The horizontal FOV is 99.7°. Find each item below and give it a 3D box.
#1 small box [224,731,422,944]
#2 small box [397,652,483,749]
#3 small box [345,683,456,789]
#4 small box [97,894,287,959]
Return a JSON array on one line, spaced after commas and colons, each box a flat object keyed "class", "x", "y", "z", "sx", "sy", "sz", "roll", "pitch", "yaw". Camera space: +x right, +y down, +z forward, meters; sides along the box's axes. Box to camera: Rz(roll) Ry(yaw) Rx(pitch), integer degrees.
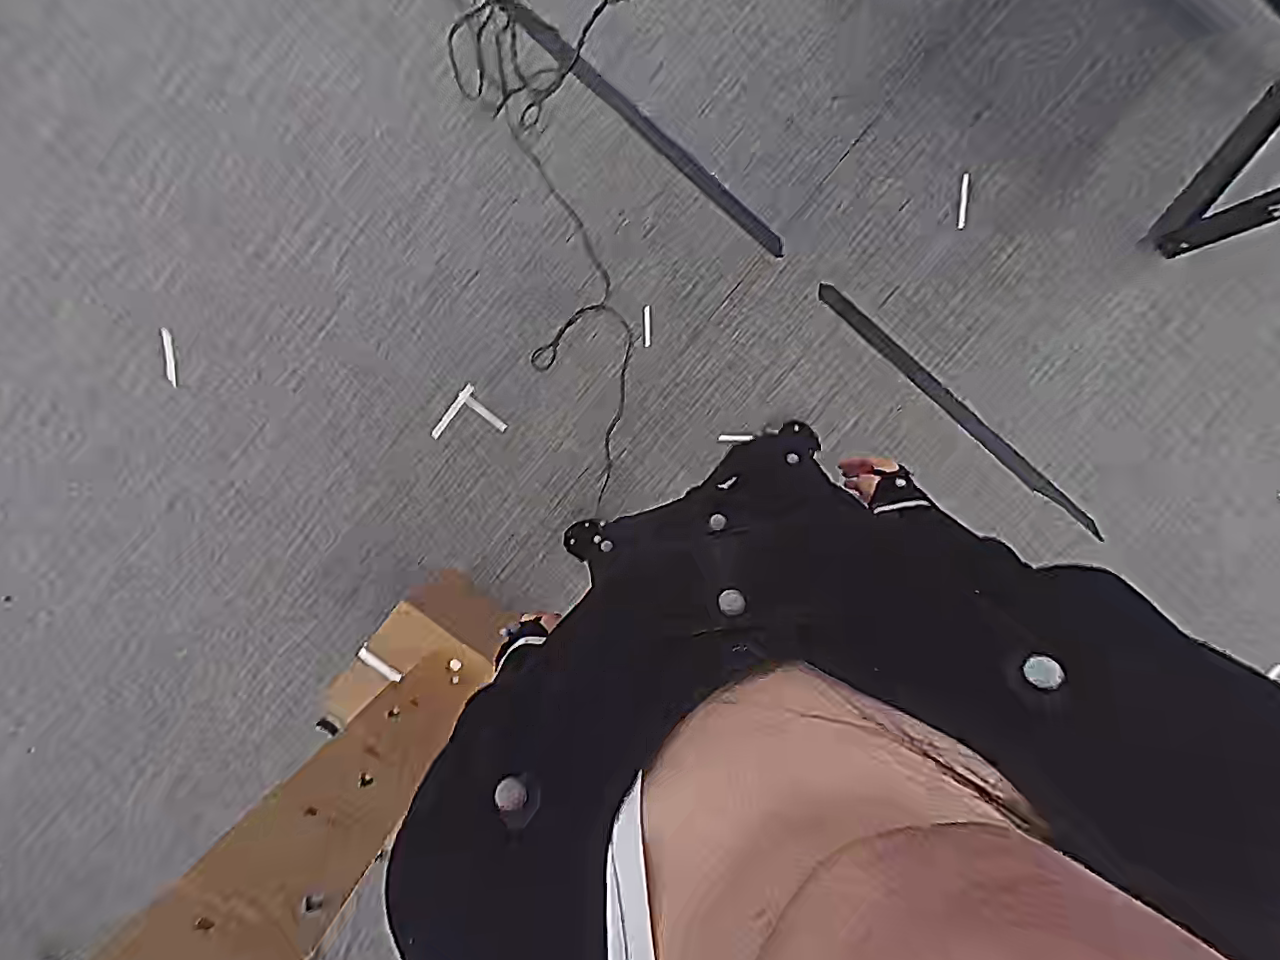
[{"class": "small box", "x": -0.462, "y": 0.525, "z": 0.824, "sx": 0.168, "sy": 0.176, "sz": 0.179, "roll": 32, "pitch": 93, "yaw": 0}, {"class": "small box", "x": -0.461, "y": 0.505, "z": 1.150, "sx": 0.168, "sy": 0.176, "sz": 0.179, "roll": 37, "pitch": 93, "yaw": -2}, {"class": "small box", "x": -0.462, "y": 0.509, "z": 0.988, "sx": 0.168, "sy": 0.176, "sz": 0.179, "roll": 36, "pitch": 94, "yaw": -1}, {"class": "small box", "x": -0.463, "y": 0.543, "z": 0.496, "sx": 0.168, "sy": 0.176, "sz": 0.179, "roll": 28, "pitch": 92, "yaw": 0}]
